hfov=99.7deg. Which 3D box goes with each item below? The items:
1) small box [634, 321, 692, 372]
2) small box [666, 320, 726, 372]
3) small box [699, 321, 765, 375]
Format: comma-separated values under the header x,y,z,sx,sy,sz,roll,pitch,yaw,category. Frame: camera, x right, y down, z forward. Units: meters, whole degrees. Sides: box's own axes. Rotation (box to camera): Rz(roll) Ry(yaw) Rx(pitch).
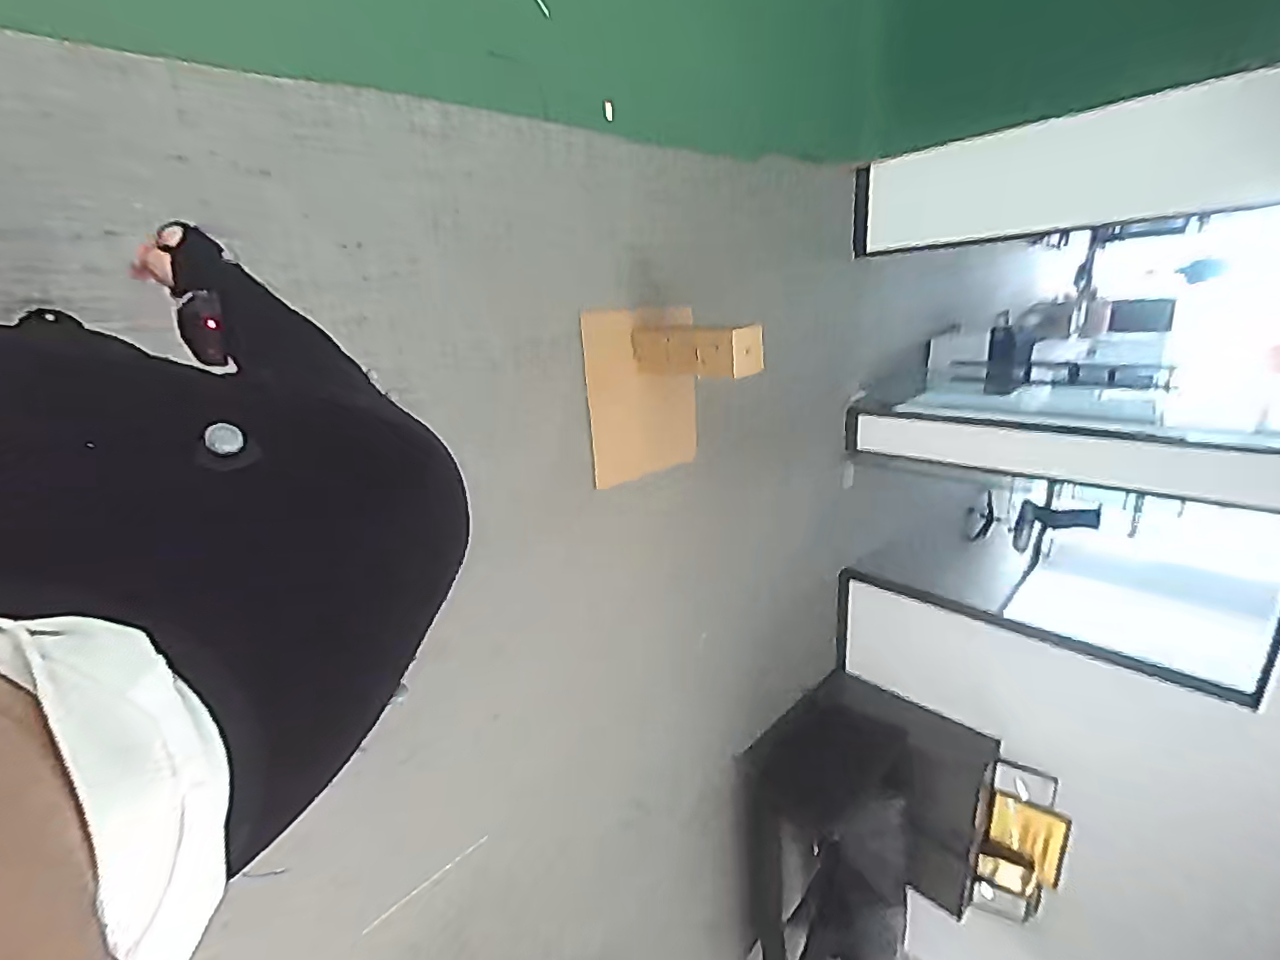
x,y,z,sx,sy,sz,roll,pitch,yaw,category
0.100,-0.537,2.154,0.179,0.176,0.168,-27,119,-36,small box
0.212,-0.506,2.038,0.179,0.176,0.168,-24,117,-38,small box
0.323,-0.471,1.926,0.179,0.176,0.168,-24,116,-38,small box
